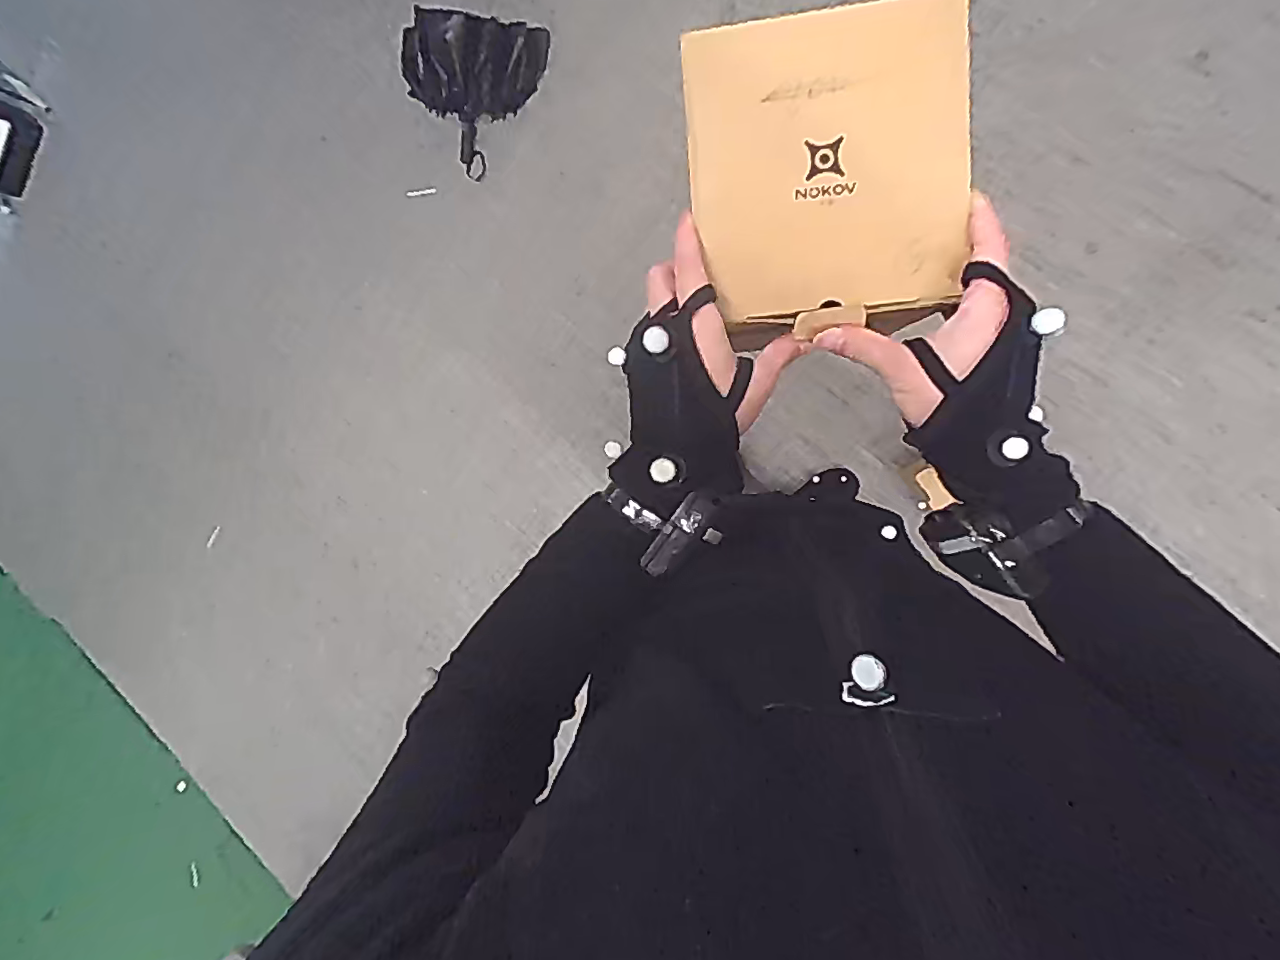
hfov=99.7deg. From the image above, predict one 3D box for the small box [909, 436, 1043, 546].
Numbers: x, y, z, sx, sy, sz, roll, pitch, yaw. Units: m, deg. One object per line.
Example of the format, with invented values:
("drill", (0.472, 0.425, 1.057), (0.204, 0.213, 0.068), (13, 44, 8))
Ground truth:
("small box", (0.709, 0.020, 1.170), (0.179, 0.176, 0.168), (-34, 84, 17))
